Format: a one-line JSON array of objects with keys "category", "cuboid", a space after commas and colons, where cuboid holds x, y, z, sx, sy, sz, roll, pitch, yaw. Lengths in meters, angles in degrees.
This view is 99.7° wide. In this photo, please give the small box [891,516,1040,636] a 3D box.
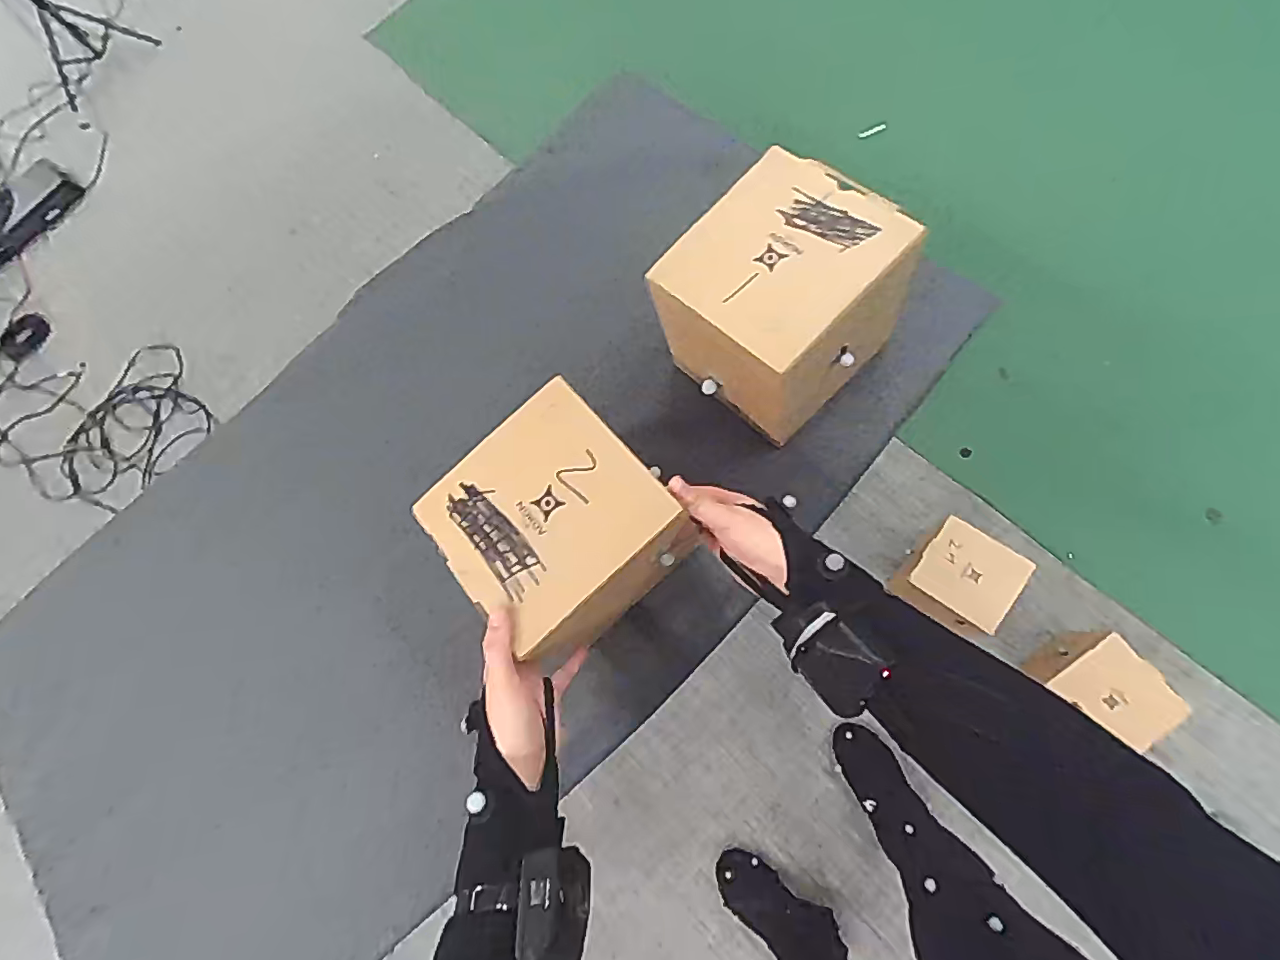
[{"category": "small box", "cuboid": [0.655, 0.200, 1.111, 0.179, 0.176, 0.168, 35, 83, 17]}]

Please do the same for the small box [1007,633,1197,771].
[{"category": "small box", "cuboid": [0.849, 0.403, 1.018, 0.179, 0.176, 0.168, -37, 72, 0]}]

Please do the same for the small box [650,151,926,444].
[{"category": "small box", "cuboid": [0.138, -0.168, 0.539, 0.179, 0.176, 0.168, -45, 68, -2]}]
